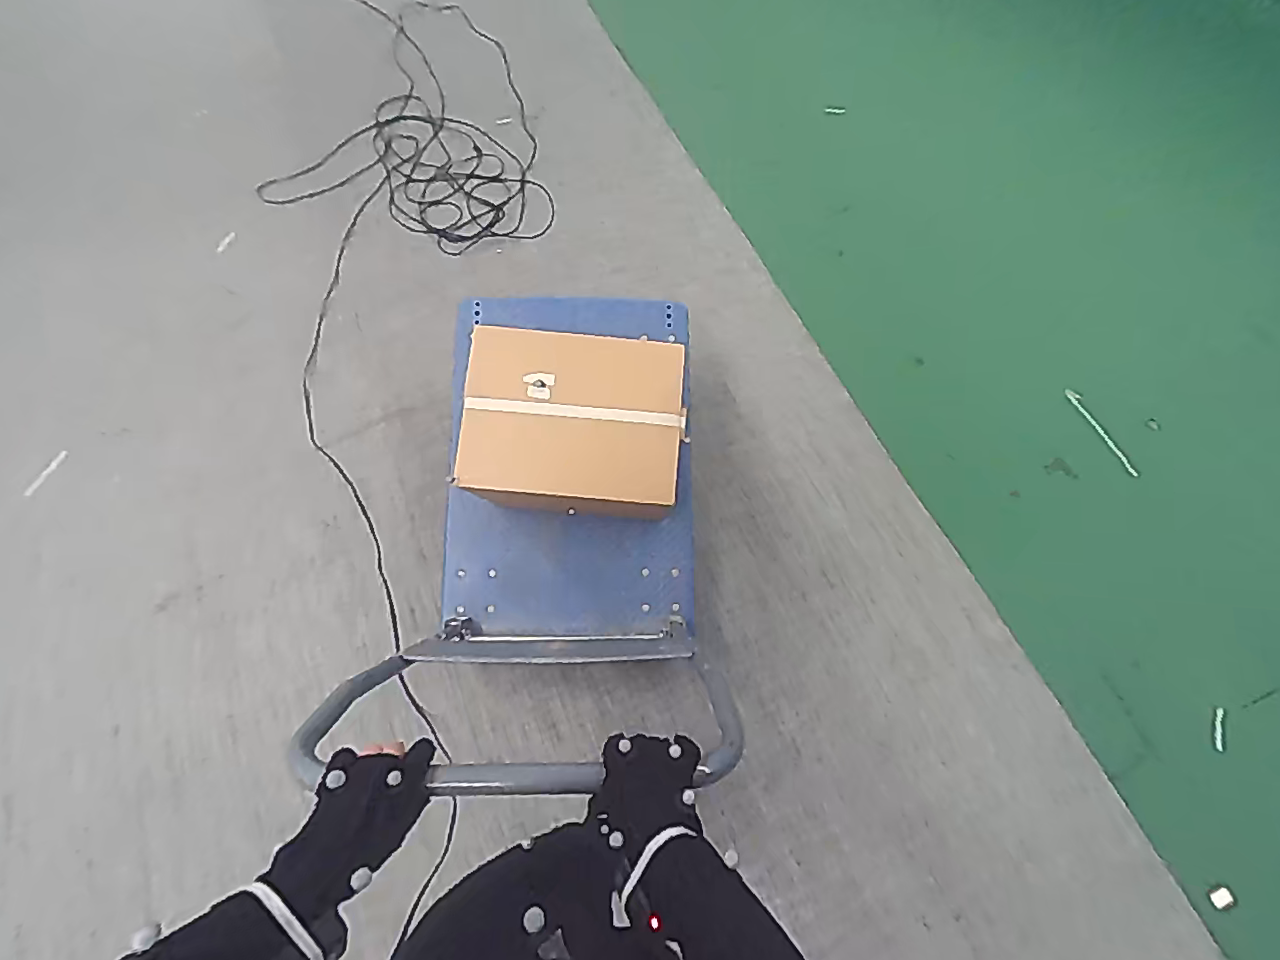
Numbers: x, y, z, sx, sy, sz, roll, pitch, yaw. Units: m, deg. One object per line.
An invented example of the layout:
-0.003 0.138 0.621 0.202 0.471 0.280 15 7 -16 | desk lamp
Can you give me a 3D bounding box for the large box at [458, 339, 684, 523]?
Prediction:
-0.125 -0.081 1.153 0.408 0.320 0.320 5 80 0 | large box
